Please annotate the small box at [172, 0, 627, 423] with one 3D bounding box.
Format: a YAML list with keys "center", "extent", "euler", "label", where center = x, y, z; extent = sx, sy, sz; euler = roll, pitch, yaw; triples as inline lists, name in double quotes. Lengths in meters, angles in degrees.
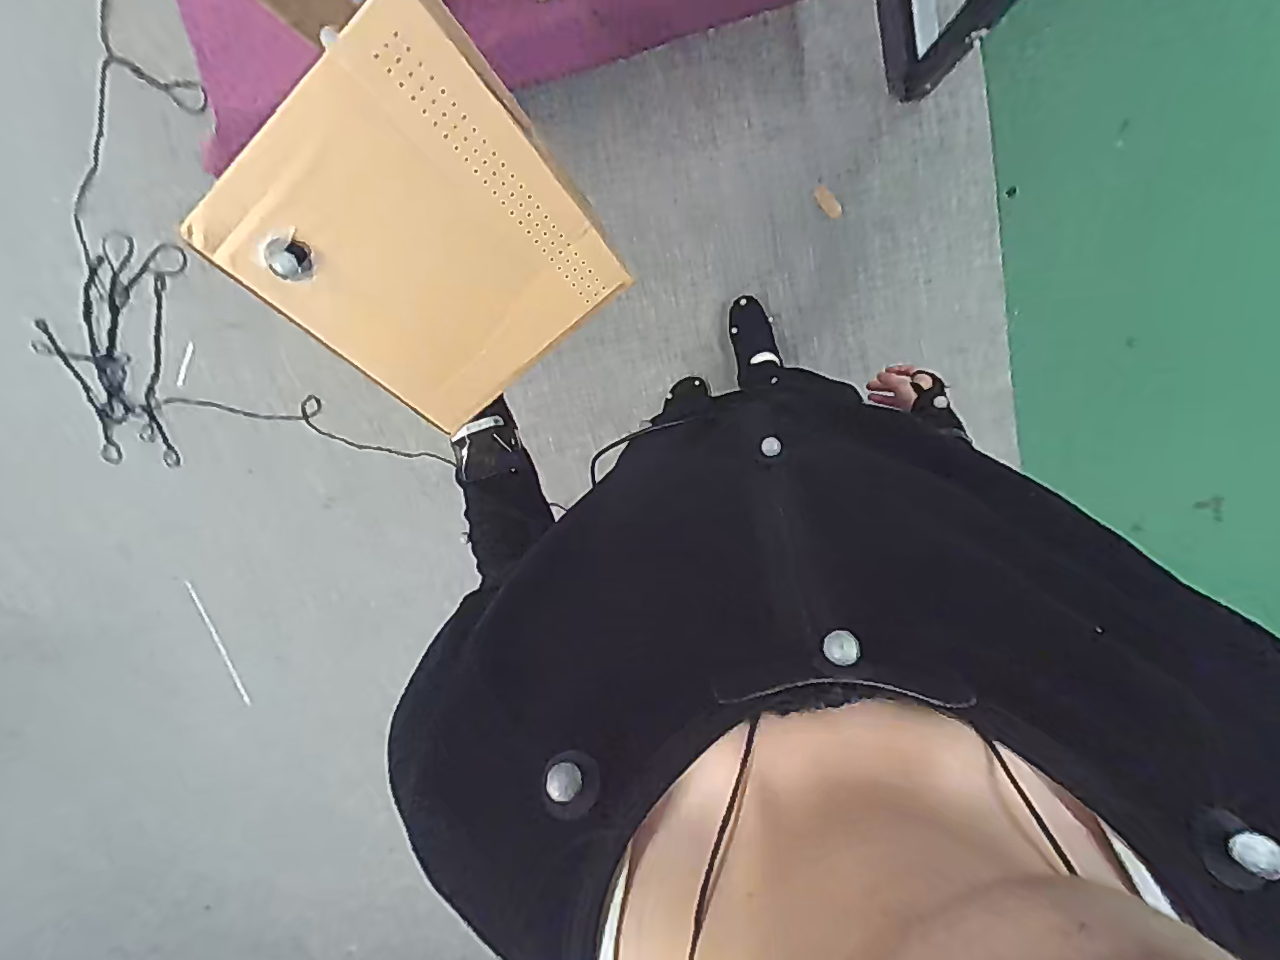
- center: [-0.130, -0.177, 0.350]
  extent: [0.176, 0.168, 0.179]
  euler: [-34, 130, 15]
  label: "small box"
